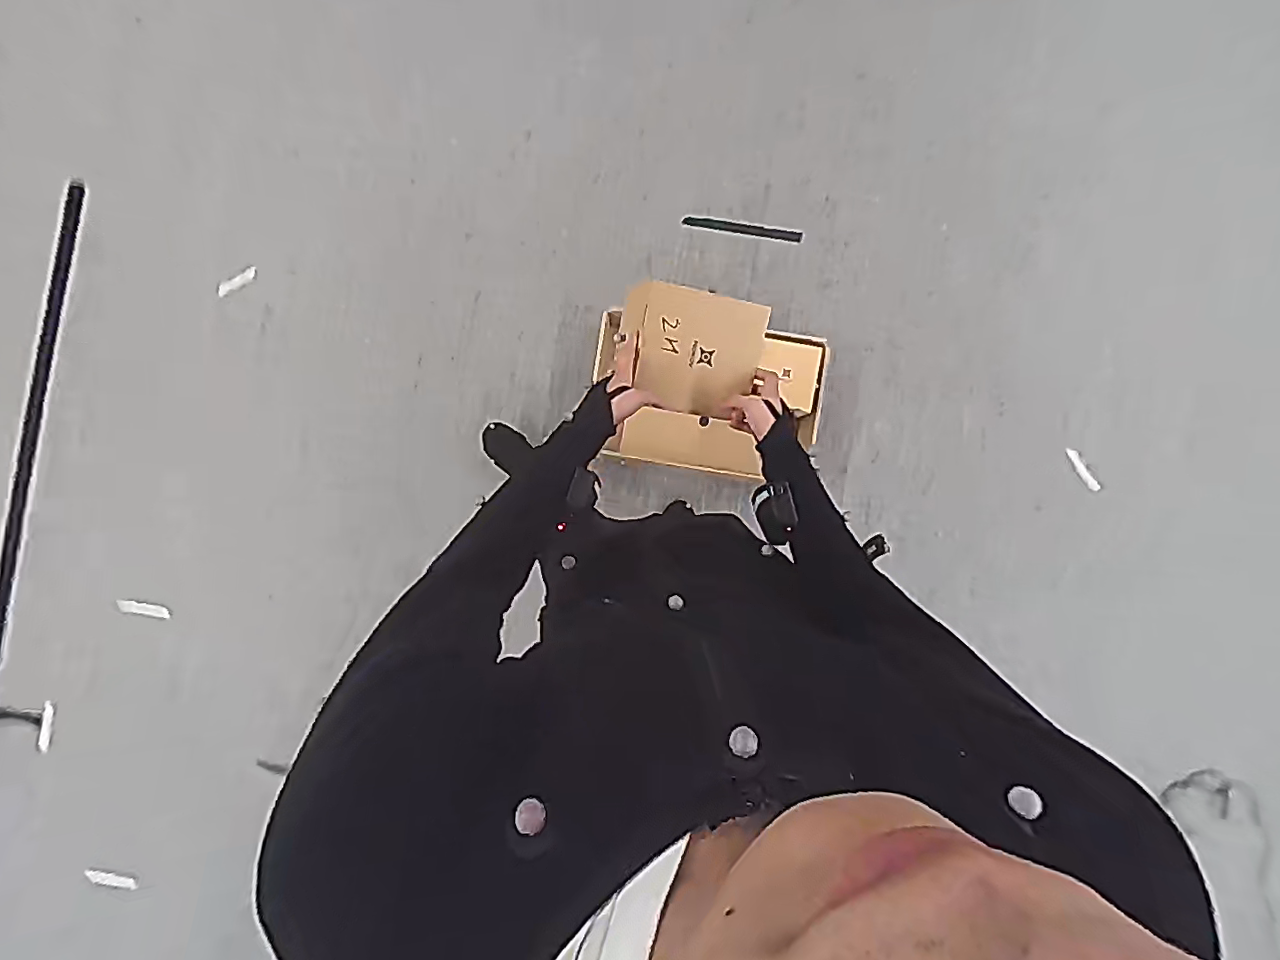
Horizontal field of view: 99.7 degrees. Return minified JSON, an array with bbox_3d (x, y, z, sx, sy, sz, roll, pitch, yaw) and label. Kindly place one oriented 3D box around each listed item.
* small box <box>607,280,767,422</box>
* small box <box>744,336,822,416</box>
[{"bbox_3d":[0.059,-0.193,0.810,0.179,0.176,0.168,8,104,-14],"label":"small box"},{"bbox_3d":[0.384,-0.283,1.498,0.168,0.176,0.179,10,92,1],"label":"small box"}]
